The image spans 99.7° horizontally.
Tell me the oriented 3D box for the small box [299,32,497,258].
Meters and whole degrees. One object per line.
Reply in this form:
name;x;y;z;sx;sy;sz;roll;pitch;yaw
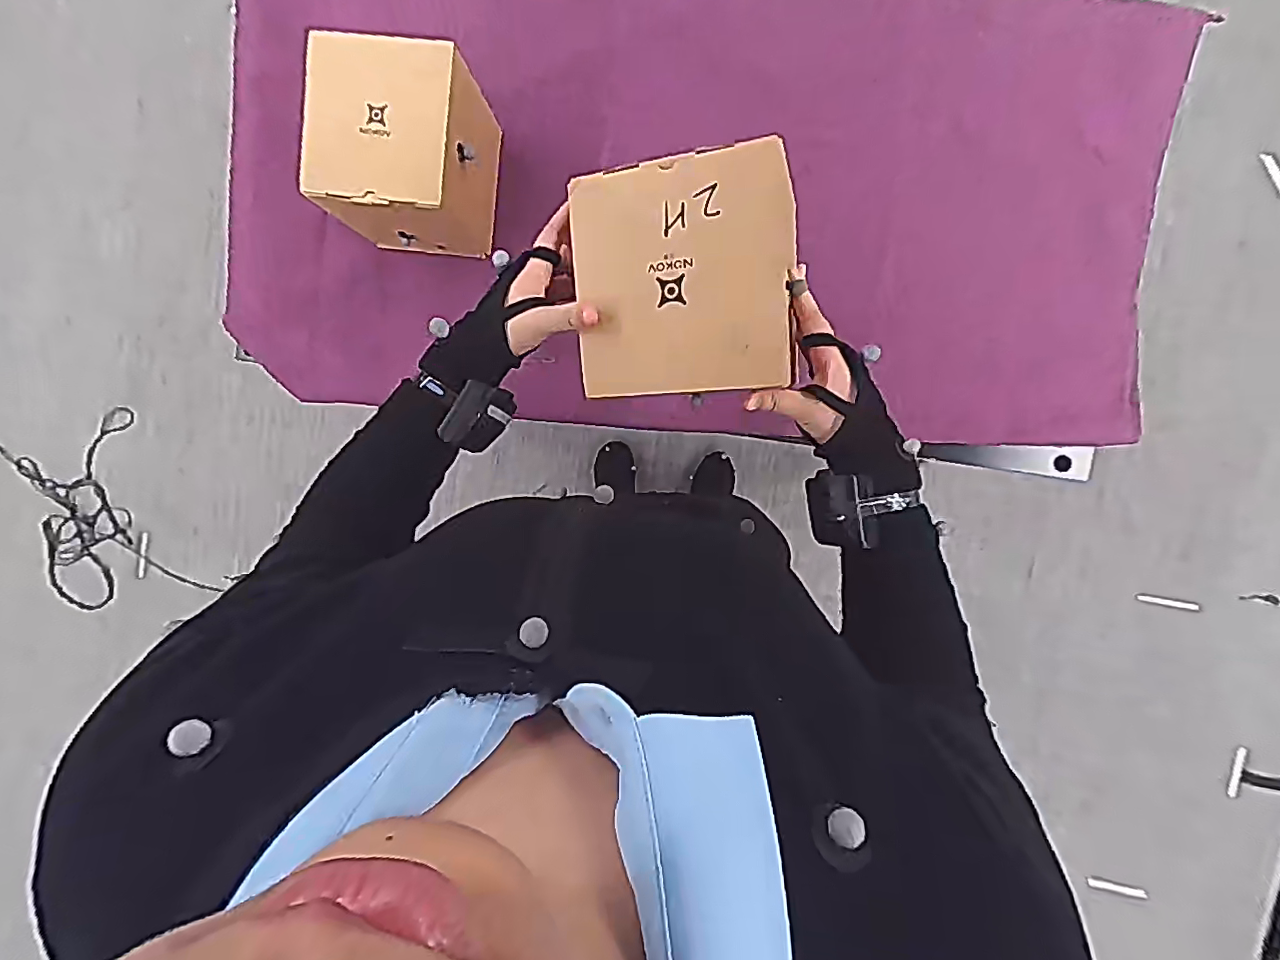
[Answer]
small box;-0.286;-0.400;0.674;0.168;0.176;0.179;7;95;2
